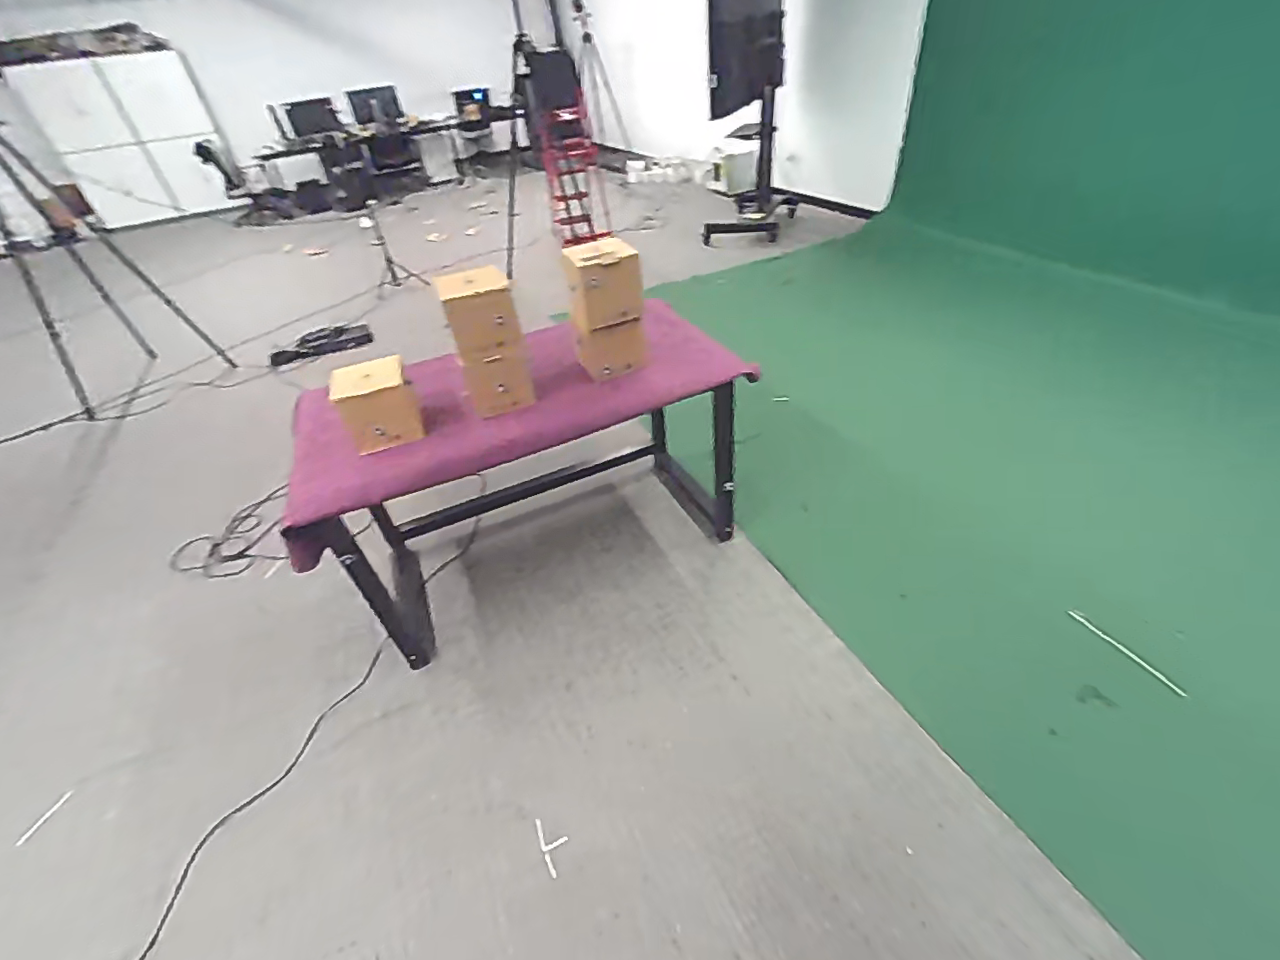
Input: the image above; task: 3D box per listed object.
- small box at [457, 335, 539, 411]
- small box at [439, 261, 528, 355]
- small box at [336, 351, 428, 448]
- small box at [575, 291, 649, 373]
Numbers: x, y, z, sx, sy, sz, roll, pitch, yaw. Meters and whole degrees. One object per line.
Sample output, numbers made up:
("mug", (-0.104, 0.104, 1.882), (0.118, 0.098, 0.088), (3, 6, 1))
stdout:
("small box", (-0.385, -0.305, 1.474), (0.168, 0.176, 0.179), (-17, 42, -13))
("small box", (-0.394, -0.432, 1.372), (0.168, 0.176, 0.179), (-18, 41, -13))
("small box", (-0.664, -0.208, 1.402), (0.168, 0.176, 0.179), (-17, 42, -13))
("small box", (-0.077, -0.423, 1.566), (0.168, 0.176, 0.179), (-16, 41, -13))
